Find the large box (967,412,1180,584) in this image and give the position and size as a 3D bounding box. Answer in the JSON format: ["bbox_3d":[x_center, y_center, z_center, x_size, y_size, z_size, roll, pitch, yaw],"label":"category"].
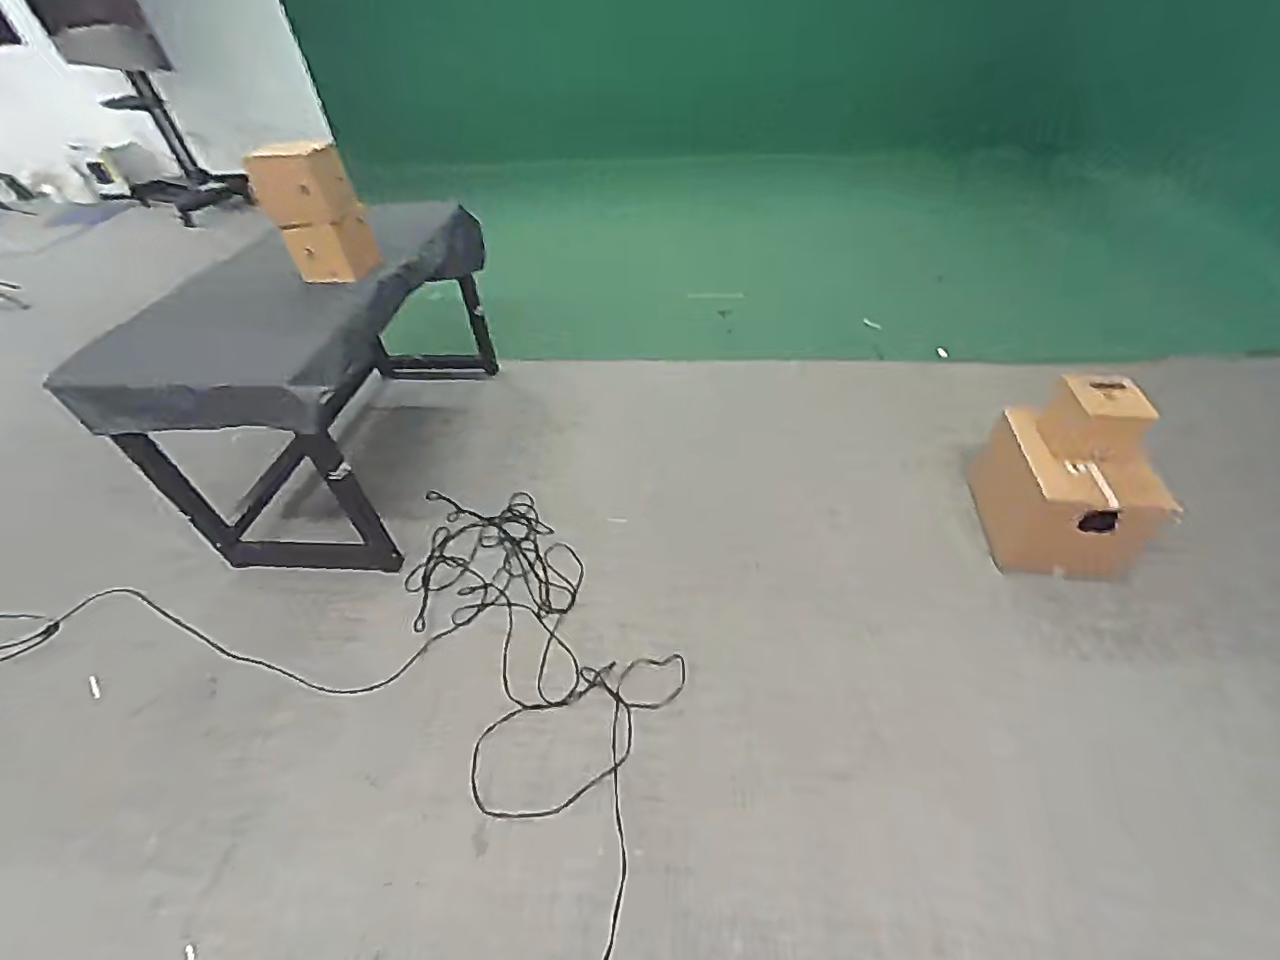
[{"bbox_3d":[1.246,0.047,1.618,0.320,0.320,0.408,4,46,10],"label":"large box"}]

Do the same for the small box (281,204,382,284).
[{"bbox_3d":[-0.894,-0.691,1.590,0.168,0.176,0.179,3,44,8],"label":"small box"}]

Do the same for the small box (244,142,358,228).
[{"bbox_3d":[-0.907,-0.801,1.471,0.179,0.176,0.168,-2,42,4],"label":"small box"}]
